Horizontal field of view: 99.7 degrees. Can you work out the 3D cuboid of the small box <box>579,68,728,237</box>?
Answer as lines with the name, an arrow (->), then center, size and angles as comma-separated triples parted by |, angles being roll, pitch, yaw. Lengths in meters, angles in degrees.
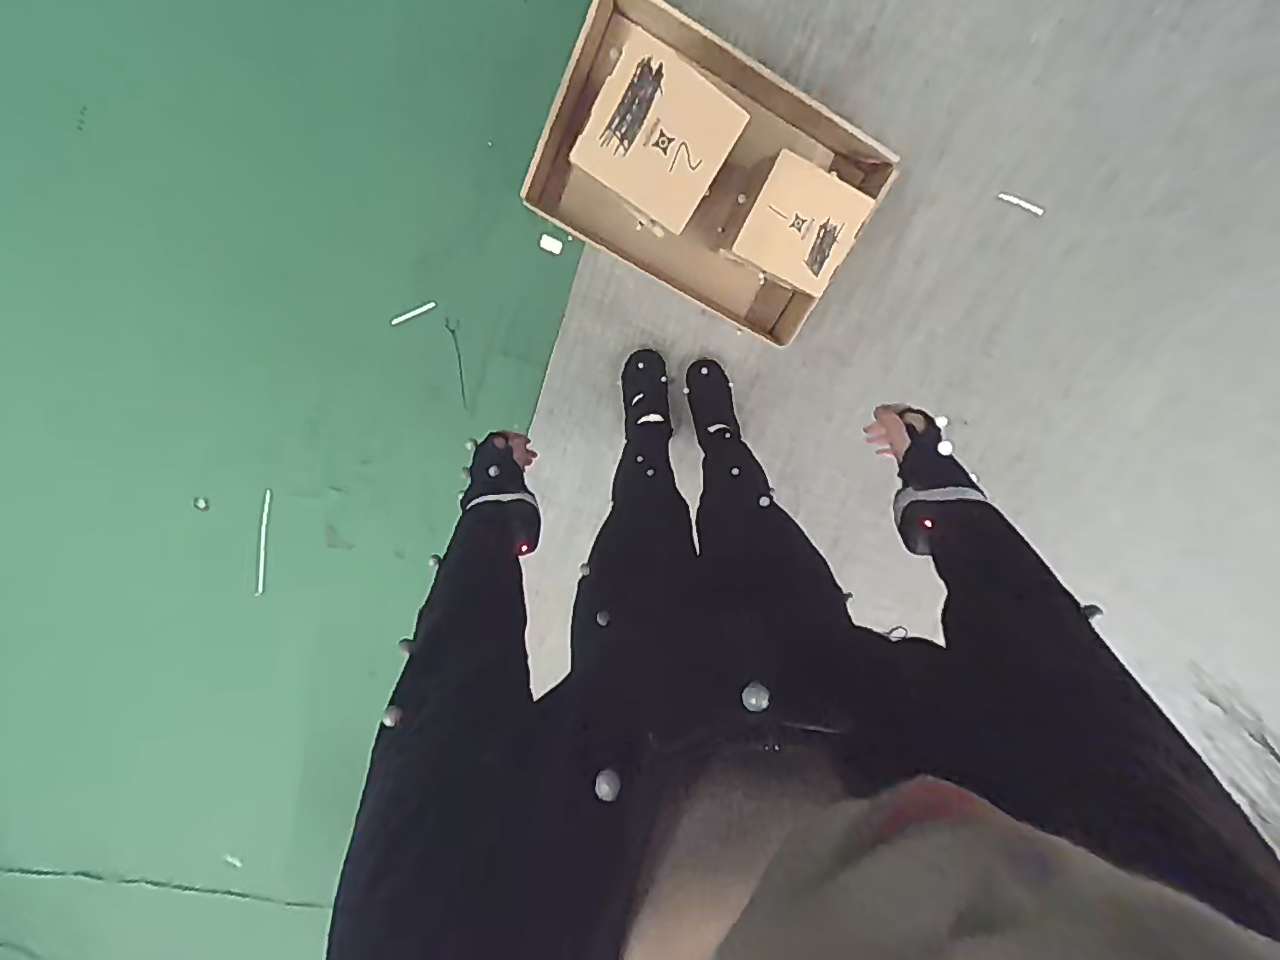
small box -> 0.019, -0.534, 0.911 | 0.179, 0.176, 0.168 | 34, 110, -16

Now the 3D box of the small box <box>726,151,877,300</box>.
small box -> 0.268, -0.438, 0.942 | 0.179, 0.176, 0.168 | 25, 113, -7
